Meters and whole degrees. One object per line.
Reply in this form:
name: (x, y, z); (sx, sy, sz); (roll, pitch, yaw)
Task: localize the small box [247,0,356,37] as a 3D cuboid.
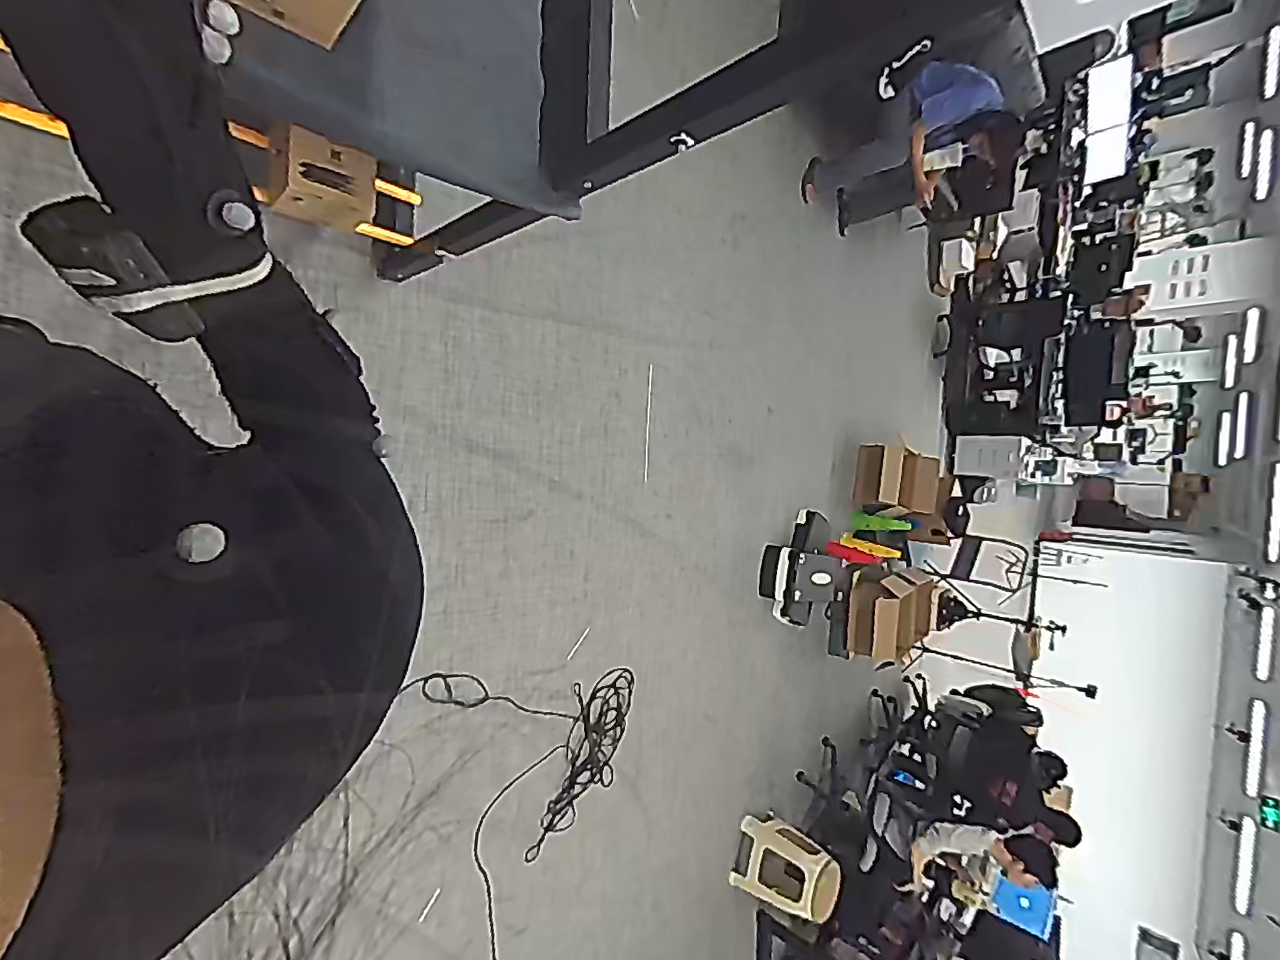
small box: (-0.390, -0.637, 0.570); (0.168, 0.176, 0.179); (-3, 95, -46)
